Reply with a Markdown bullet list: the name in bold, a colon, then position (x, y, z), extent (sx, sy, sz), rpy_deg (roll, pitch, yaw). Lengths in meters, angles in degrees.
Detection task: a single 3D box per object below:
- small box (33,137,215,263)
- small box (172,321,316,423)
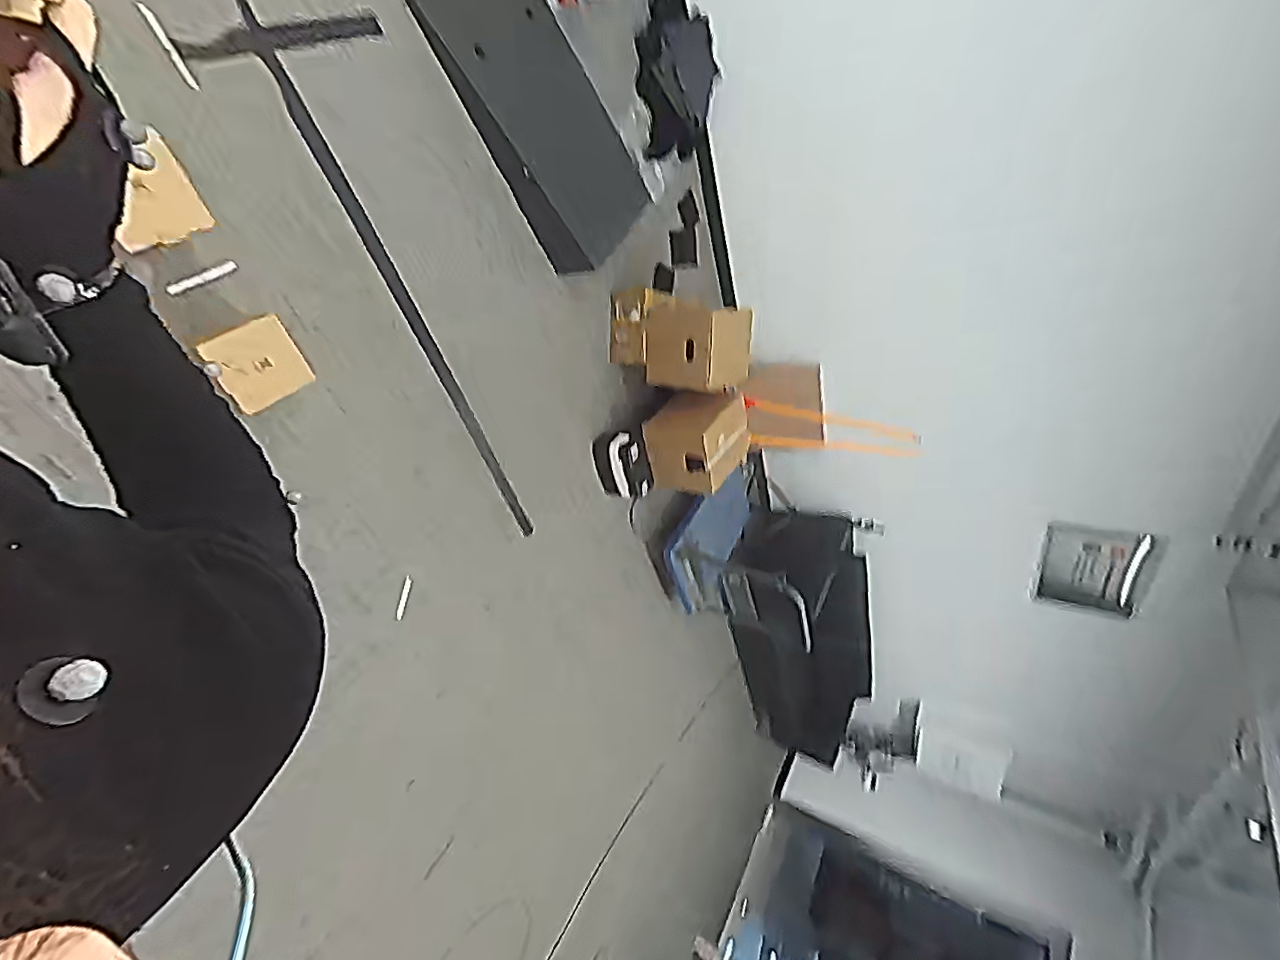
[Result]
- **small box**: position (-0.975, -0.525, 1.027), extent (0.168, 0.176, 0.179), rpy_deg (-49, 137, -38)
- **small box**: position (-0.892, -0.249, 1.223), extent (0.179, 0.176, 0.168), rpy_deg (-49, 135, -38)
